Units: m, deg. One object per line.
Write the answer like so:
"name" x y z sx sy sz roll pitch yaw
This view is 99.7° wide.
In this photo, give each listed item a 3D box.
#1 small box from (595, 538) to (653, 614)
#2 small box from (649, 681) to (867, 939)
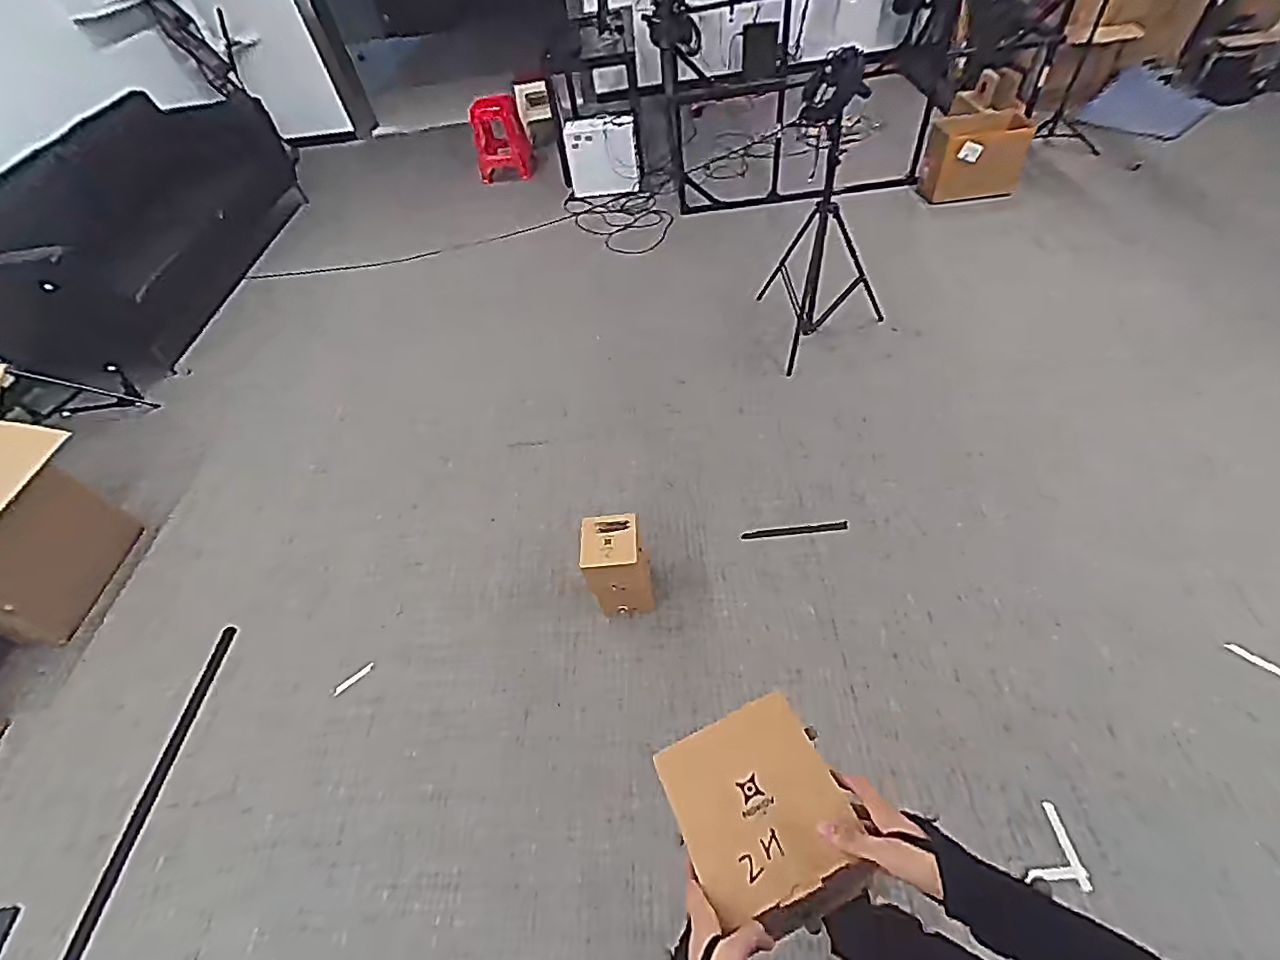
"small box" -0.052 0.313 1.757 0.168 0.176 0.179 -8 50 4
"small box" 0.130 0.371 0.611 0.168 0.176 0.179 -26 42 -5
